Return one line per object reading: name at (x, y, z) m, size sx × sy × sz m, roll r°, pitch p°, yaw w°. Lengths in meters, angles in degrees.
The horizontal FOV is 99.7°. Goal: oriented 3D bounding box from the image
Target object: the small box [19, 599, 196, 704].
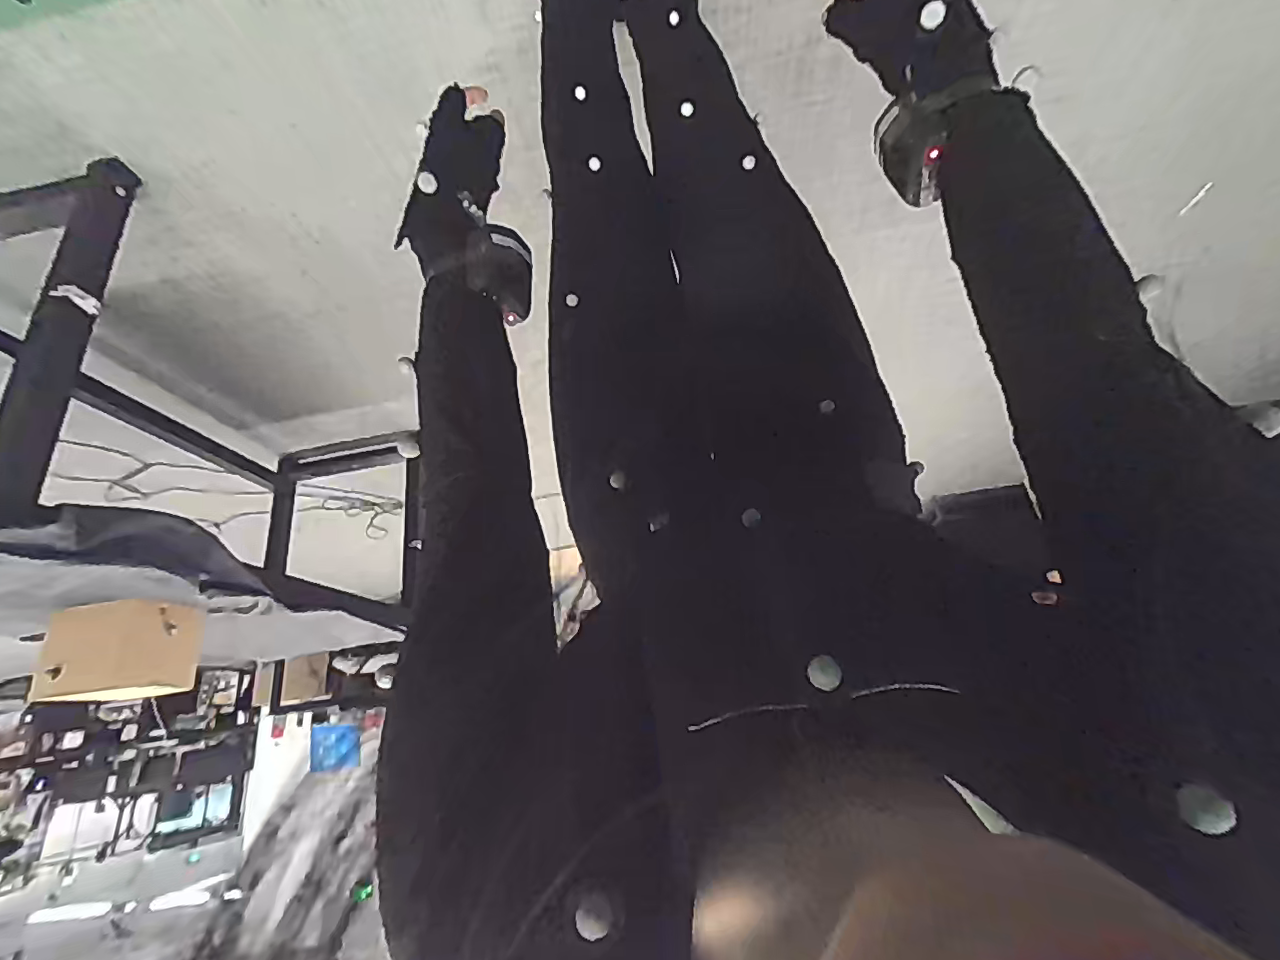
small box at (-1.031, 0.342, 1.066) m, size 0.179 × 0.176 × 0.168 m, roll -9°, pitch 158°, yaw 2°
